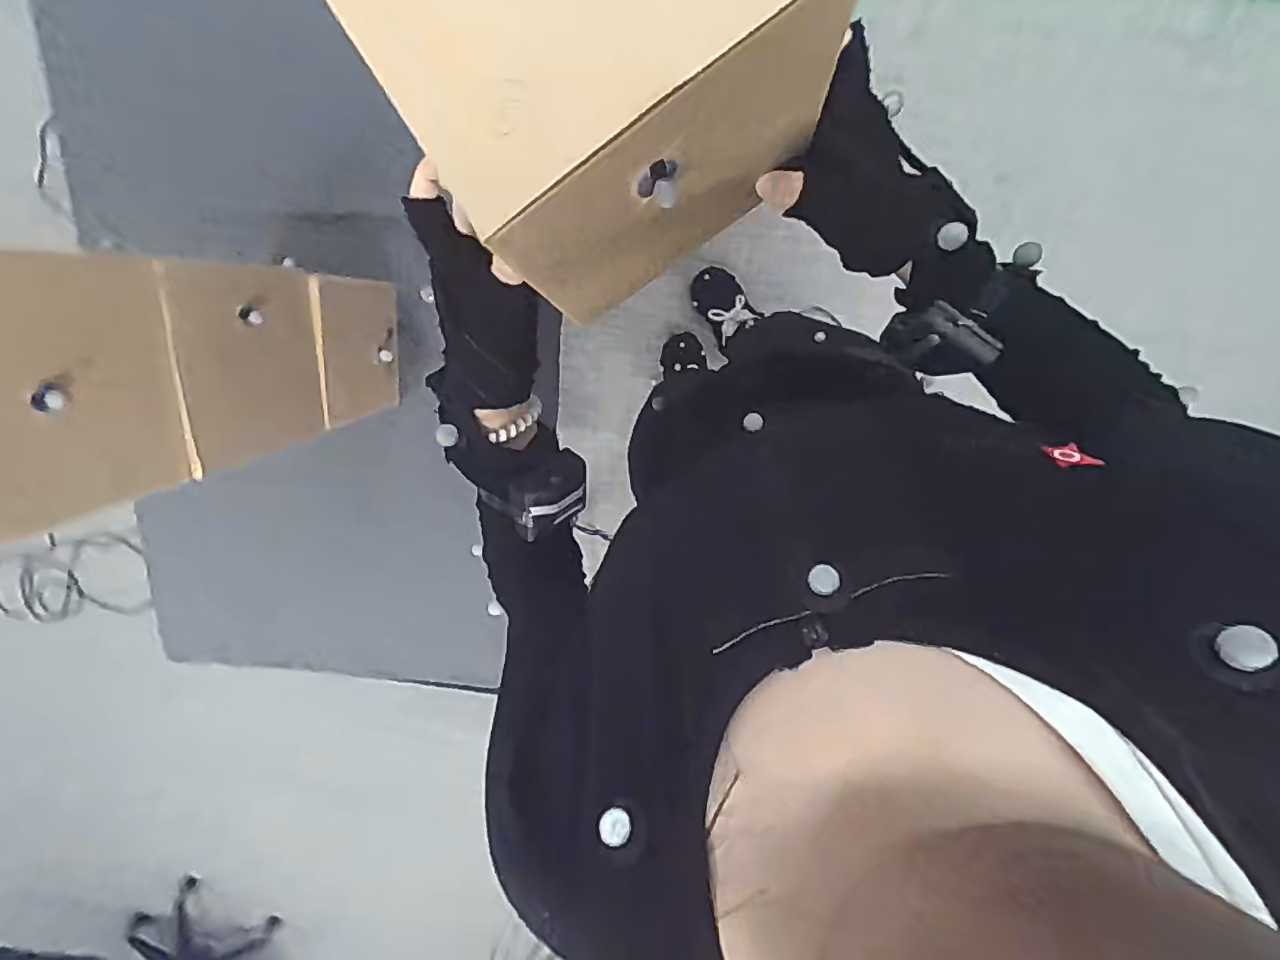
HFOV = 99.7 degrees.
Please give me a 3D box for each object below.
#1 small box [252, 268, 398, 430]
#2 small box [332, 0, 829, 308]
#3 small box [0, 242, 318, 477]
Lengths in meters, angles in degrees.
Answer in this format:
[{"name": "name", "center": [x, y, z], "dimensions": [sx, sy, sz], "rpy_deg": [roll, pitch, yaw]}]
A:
[{"name": "small box", "center": [-0.422, -0.166, 0.661], "dimensions": [0.179, 0.176, 0.168], "rpy_deg": [7, 108, 1]}, {"name": "small box", "center": [-0.023, -0.216, 0.279], "dimensions": [0.179, 0.176, 0.168], "rpy_deg": [-32, 89, 8]}, {"name": "small box", "center": [-0.437, -0.115, 0.507], "dimensions": [0.168, 0.176, 0.179], "rpy_deg": [5, 107, 4]}]
